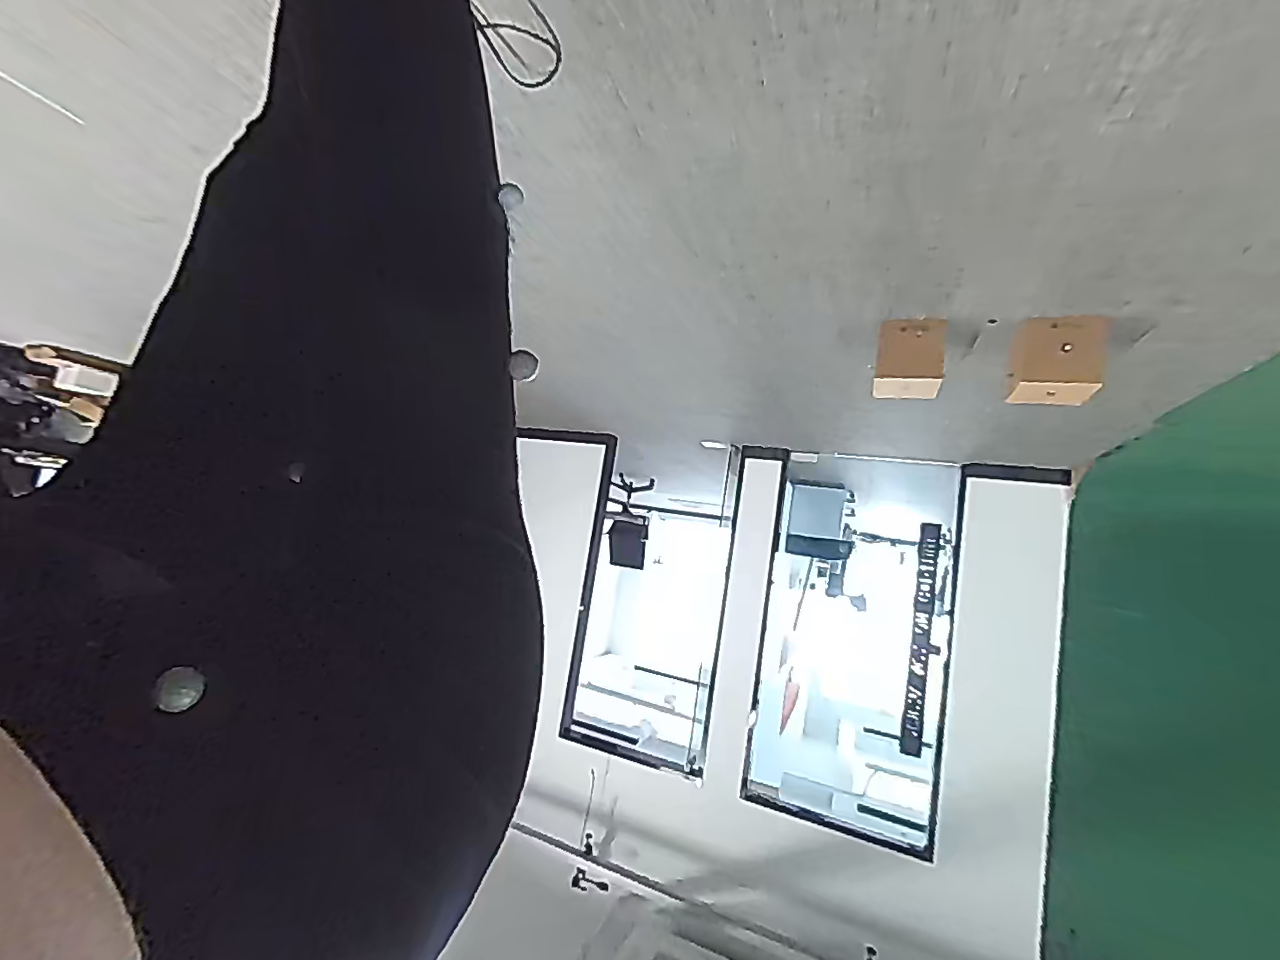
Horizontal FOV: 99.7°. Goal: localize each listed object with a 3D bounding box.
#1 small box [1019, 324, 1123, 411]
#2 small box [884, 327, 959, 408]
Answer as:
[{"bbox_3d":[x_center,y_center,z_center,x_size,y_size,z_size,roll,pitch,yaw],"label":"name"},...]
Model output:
[{"bbox_3d":[1.063,-0.277,1.342,0.168,0.176,0.179,6,173,25],"label":"small box"},{"bbox_3d":[0.767,-0.306,1.481,0.168,0.176,0.179,5,172,24],"label":"small box"}]
